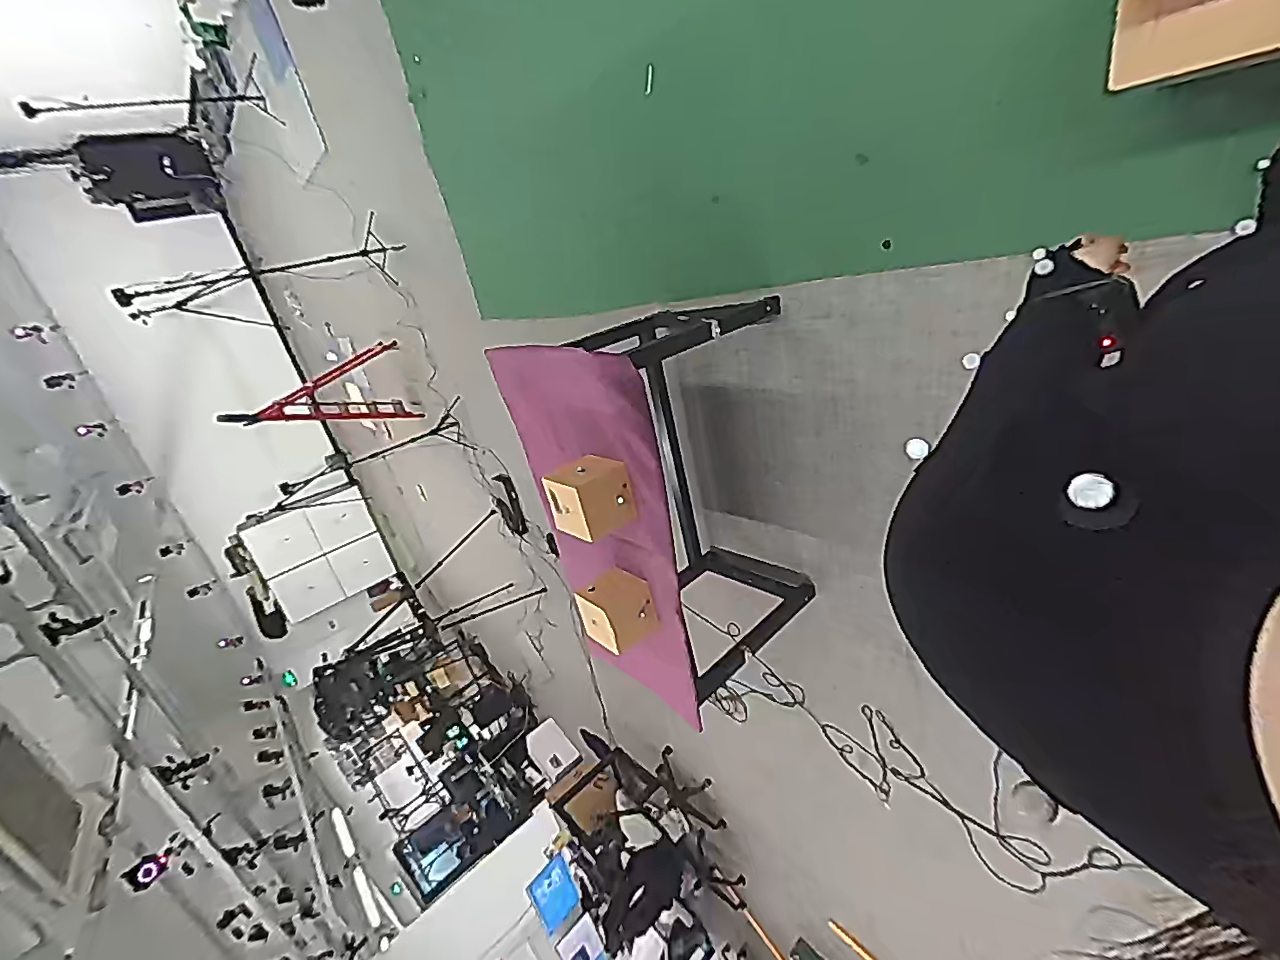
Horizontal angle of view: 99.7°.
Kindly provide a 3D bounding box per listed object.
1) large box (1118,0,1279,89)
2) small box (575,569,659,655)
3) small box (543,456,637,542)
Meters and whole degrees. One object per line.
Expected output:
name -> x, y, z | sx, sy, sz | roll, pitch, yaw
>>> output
large box -> 0.915, -0.746, 0.685 | 0.408, 0.320, 0.320 | 15, 126, 47
small box -> -0.068, 0.395, 1.656 | 0.179, 0.176, 0.168 | 14, 125, 50
small box -> -0.134, 0.044, 1.485 | 0.179, 0.176, 0.168 | 14, 125, 48
